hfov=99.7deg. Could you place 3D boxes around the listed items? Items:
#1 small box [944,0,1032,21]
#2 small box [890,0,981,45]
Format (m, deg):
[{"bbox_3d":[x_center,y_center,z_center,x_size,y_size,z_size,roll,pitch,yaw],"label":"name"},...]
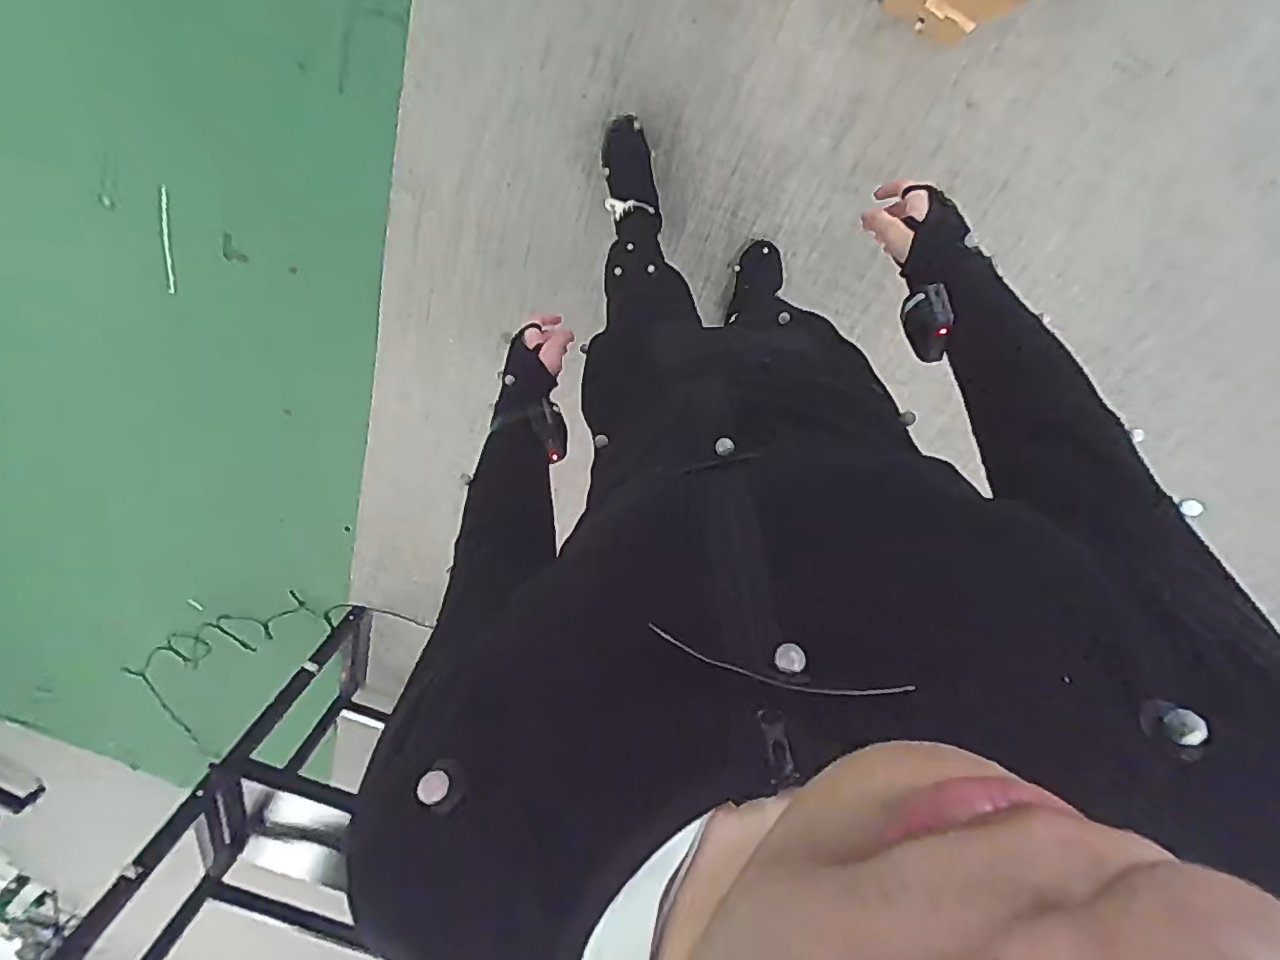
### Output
[{"bbox_3d":[0.590,-0.895,0.882,0.179,0.176,0.168,27,120,-6],"label":"small box"},{"bbox_3d":[0.603,-0.972,1.025,0.168,0.176,0.179,28,121,-7],"label":"small box"}]
